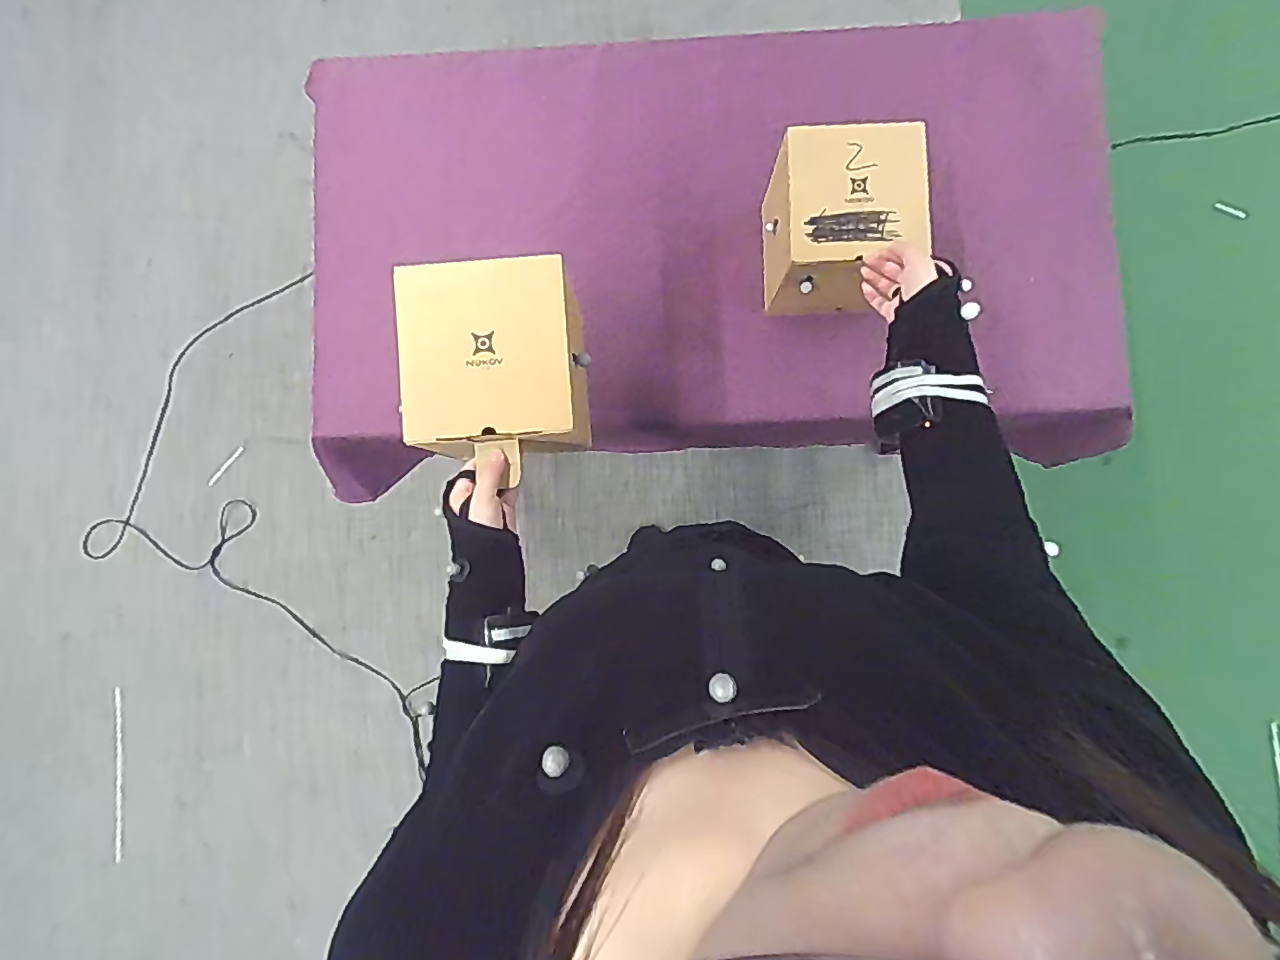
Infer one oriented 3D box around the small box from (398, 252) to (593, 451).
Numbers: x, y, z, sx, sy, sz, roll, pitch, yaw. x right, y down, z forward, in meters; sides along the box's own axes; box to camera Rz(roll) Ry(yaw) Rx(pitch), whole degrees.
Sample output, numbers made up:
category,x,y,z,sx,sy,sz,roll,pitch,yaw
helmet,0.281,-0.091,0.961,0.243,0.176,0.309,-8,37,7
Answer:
category,x,y,z,sx,sy,sz,roll,pitch,yaw
small box,-0.151,-0.132,0.617,0.168,0.176,0.179,-7,90,2
